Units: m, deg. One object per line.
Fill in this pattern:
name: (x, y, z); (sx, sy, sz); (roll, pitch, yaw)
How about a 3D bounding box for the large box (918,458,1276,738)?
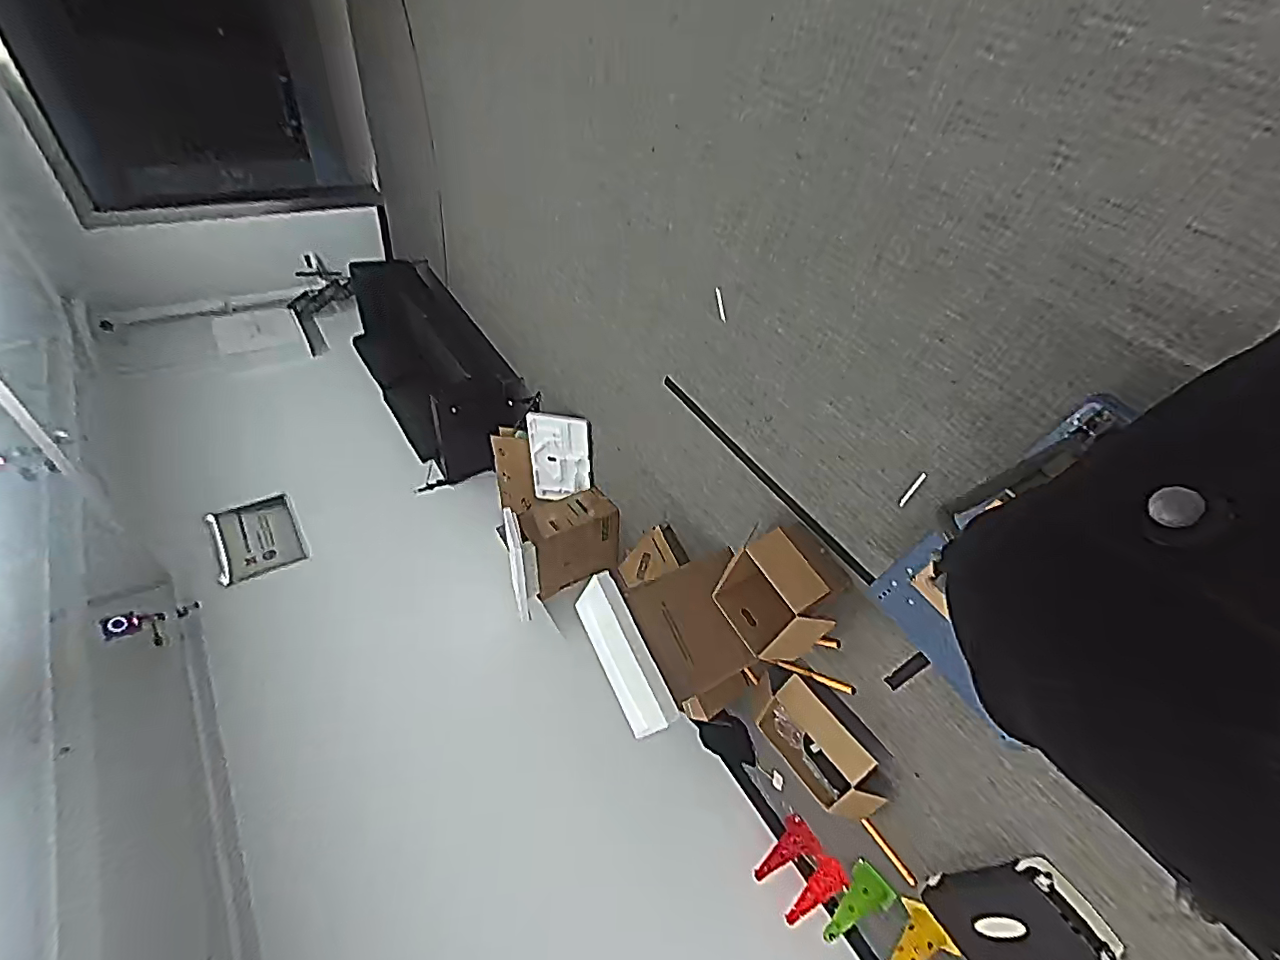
large box: (0.895, 0.225, 1.107); (0.408, 0.320, 0.320); (53, 147, 30)
